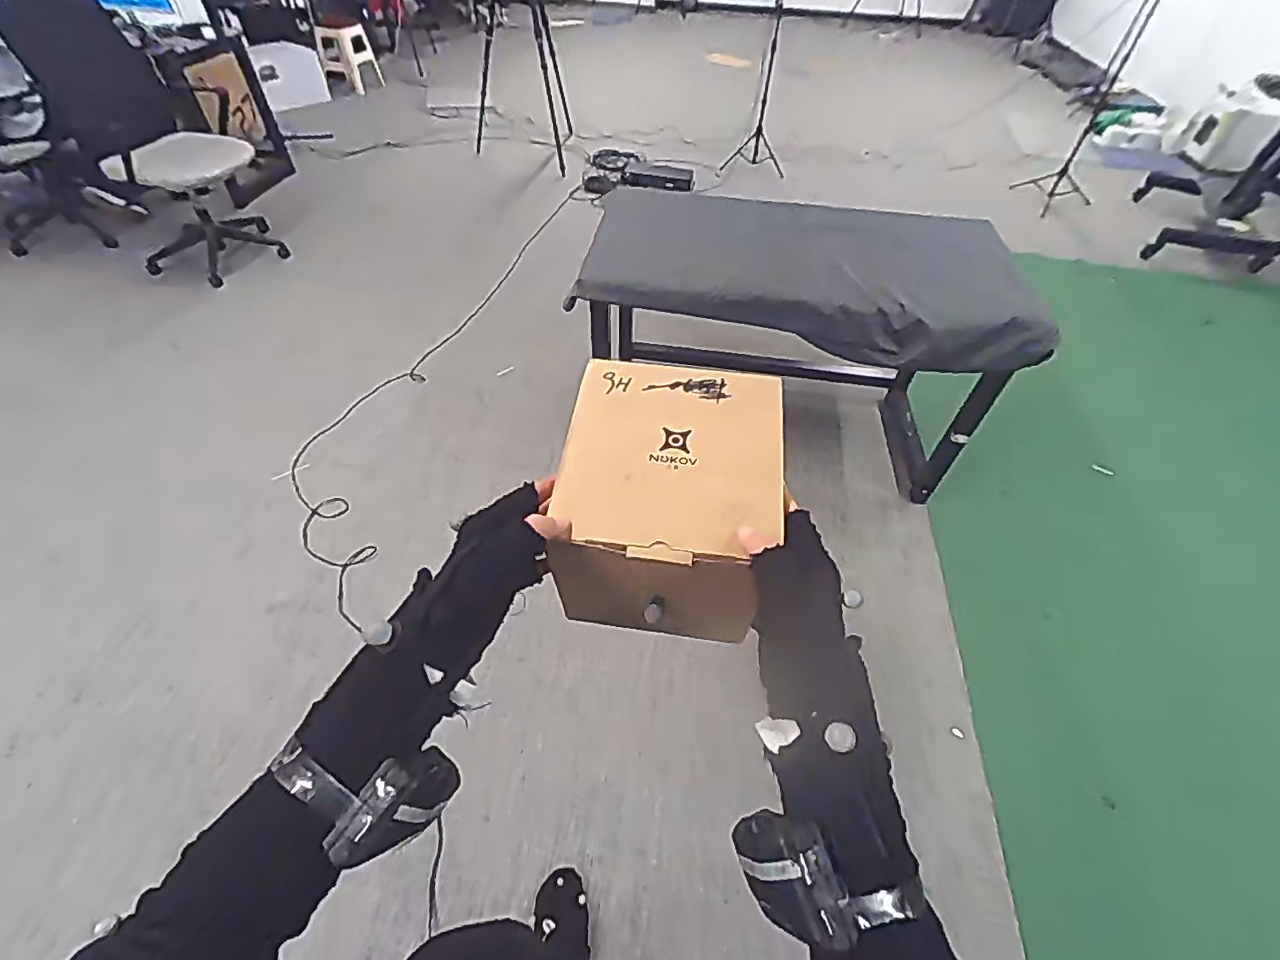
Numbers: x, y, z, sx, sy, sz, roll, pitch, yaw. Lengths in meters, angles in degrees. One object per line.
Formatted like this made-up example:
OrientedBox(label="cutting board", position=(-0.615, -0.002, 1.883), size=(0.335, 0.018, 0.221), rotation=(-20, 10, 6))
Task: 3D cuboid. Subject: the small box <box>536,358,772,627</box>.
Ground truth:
OrientedBox(label="small box", position=(0.020, 0.018, 0.484), size=(0.168, 0.176, 0.179), rotation=(6, 58, 5))
